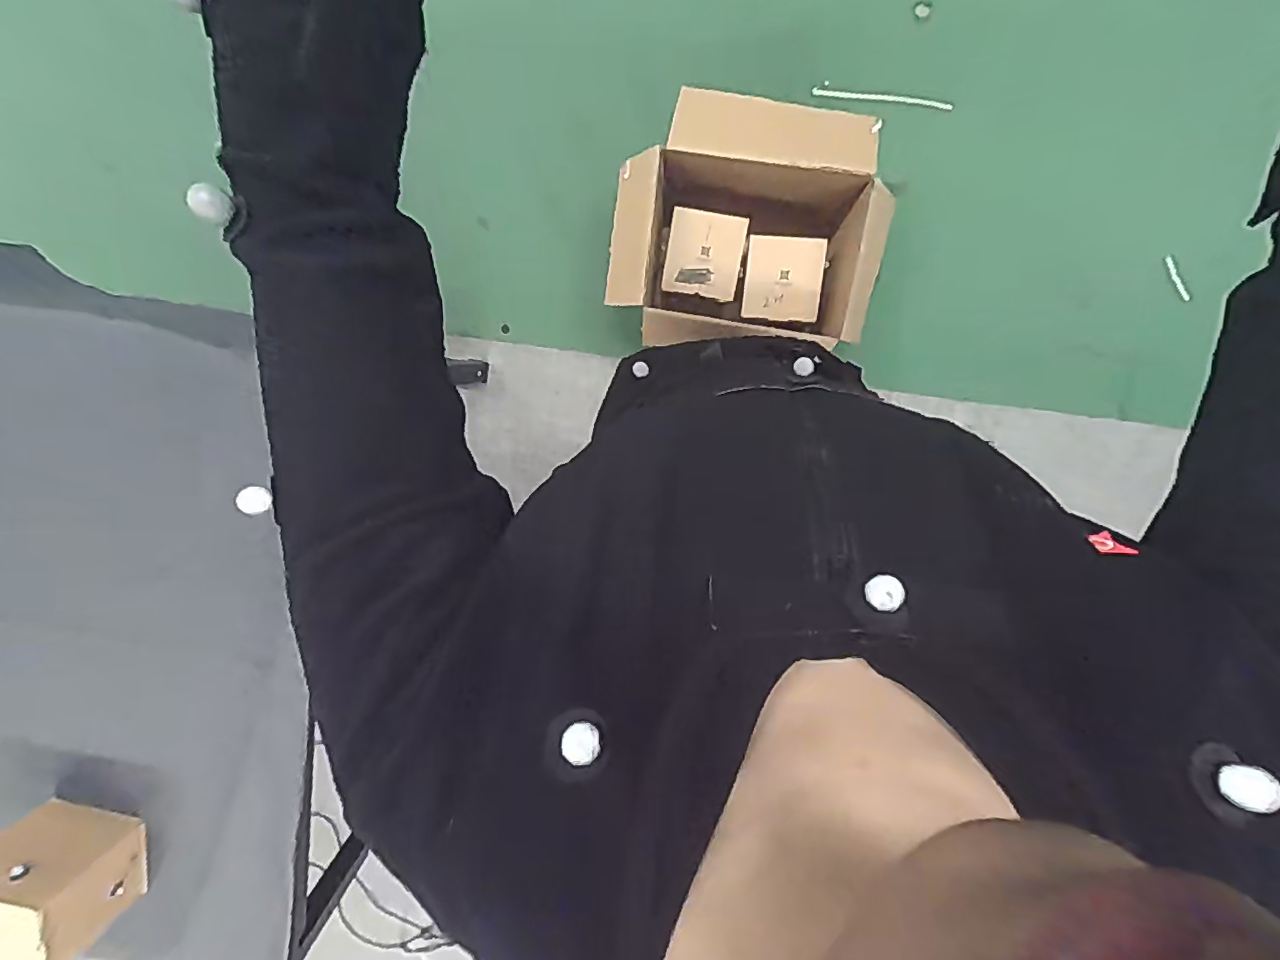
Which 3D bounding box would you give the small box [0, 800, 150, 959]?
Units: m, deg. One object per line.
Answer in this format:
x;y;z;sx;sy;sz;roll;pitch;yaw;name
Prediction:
-0.978;0.673;0.900;0.179;0.176;0.168;12;104;1;small box
